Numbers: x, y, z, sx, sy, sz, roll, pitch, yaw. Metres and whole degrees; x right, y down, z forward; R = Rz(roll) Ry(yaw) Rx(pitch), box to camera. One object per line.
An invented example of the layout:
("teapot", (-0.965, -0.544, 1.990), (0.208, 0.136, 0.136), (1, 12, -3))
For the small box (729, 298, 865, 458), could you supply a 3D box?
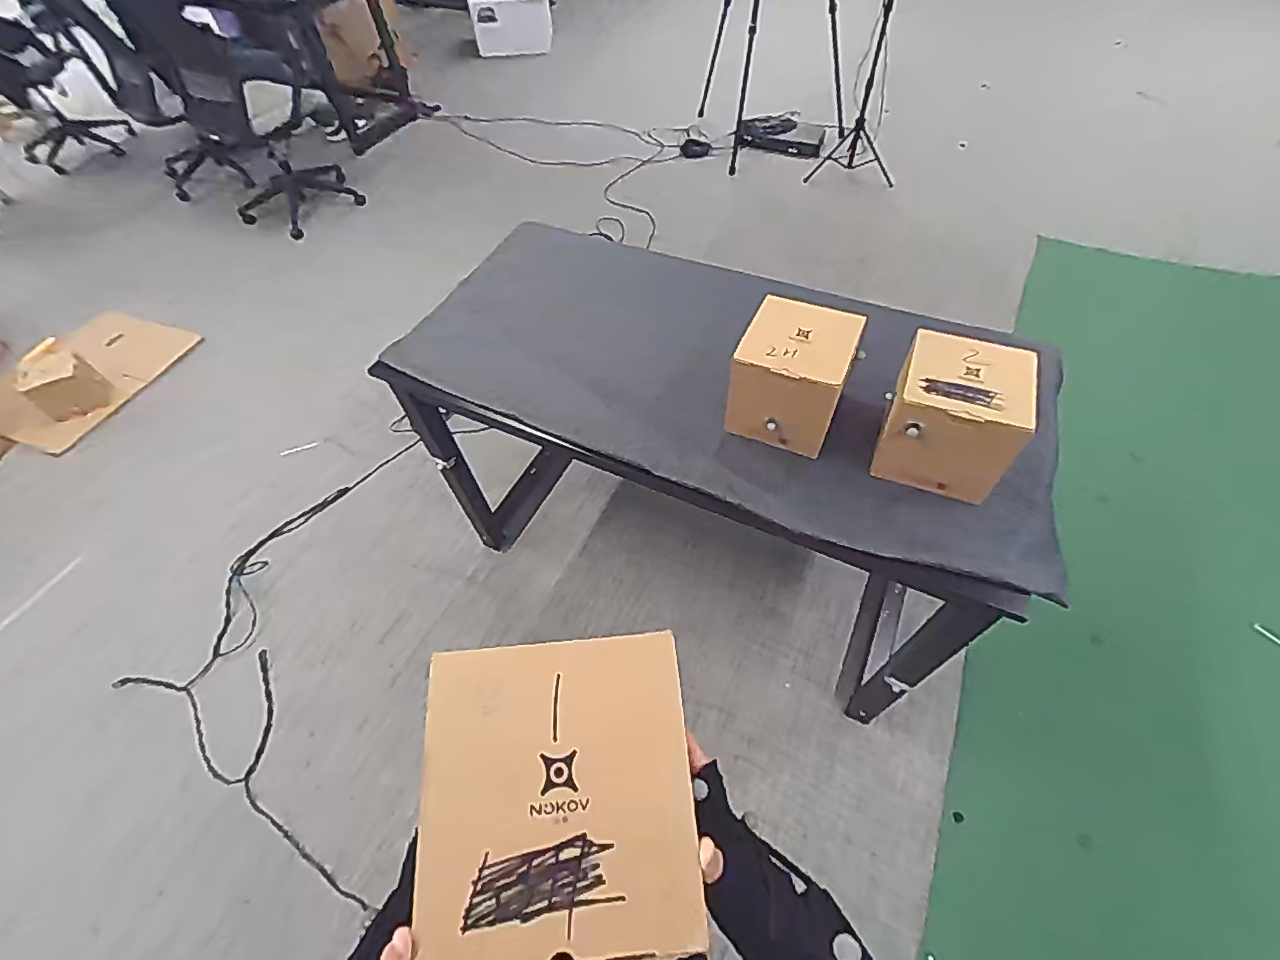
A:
("small box", (0.254, -0.170, 0.904), (0.168, 0.176, 0.179), (19, 57, 18))
